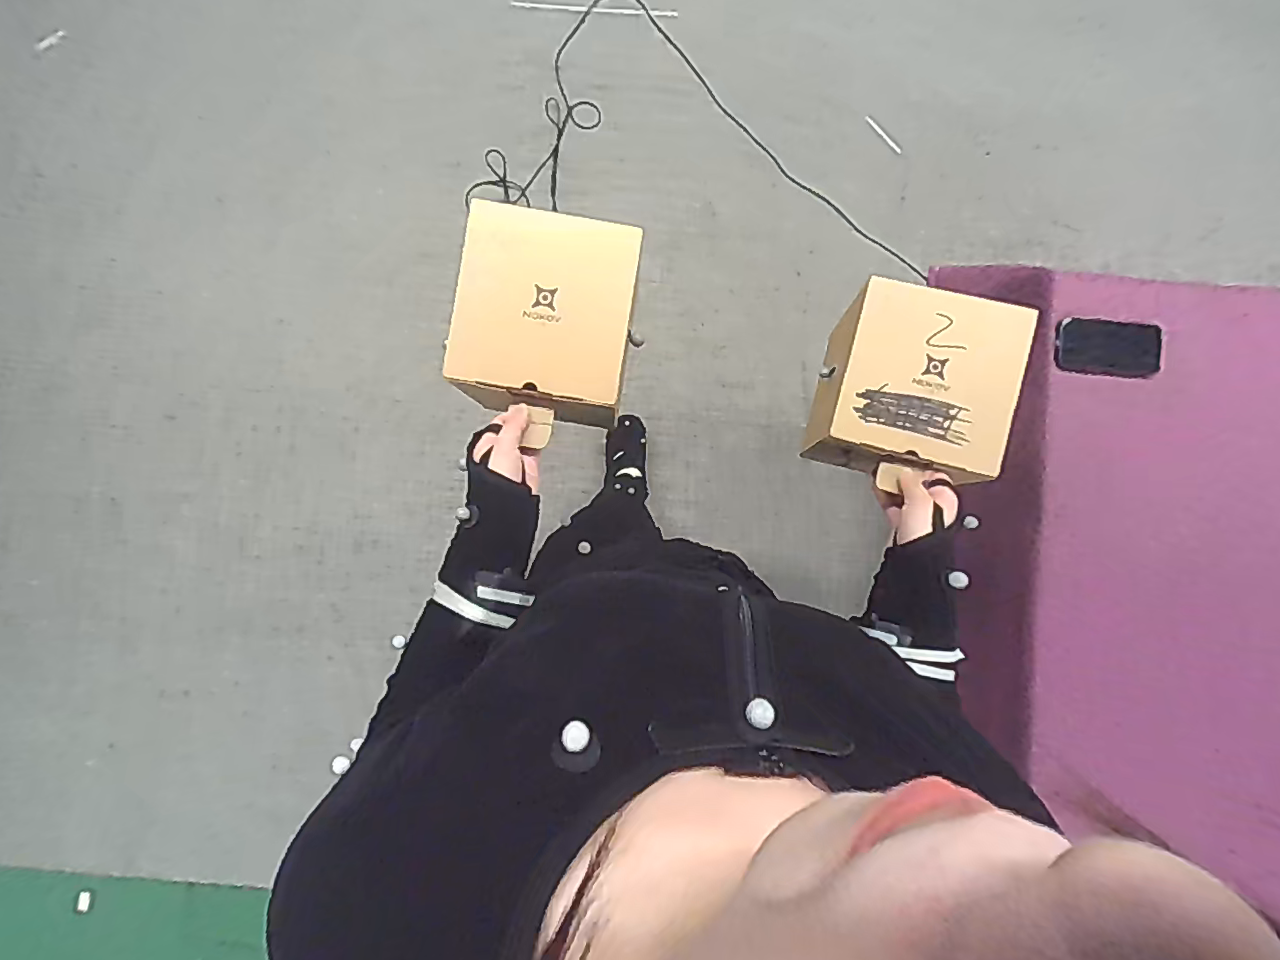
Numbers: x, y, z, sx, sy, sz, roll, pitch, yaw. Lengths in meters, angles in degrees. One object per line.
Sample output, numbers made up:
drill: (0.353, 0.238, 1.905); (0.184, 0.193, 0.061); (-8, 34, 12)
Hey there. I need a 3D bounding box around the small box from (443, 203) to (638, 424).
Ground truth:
small box: (-0.100, -0.167, 0.598); (0.168, 0.176, 0.179); (8, 89, -3)
